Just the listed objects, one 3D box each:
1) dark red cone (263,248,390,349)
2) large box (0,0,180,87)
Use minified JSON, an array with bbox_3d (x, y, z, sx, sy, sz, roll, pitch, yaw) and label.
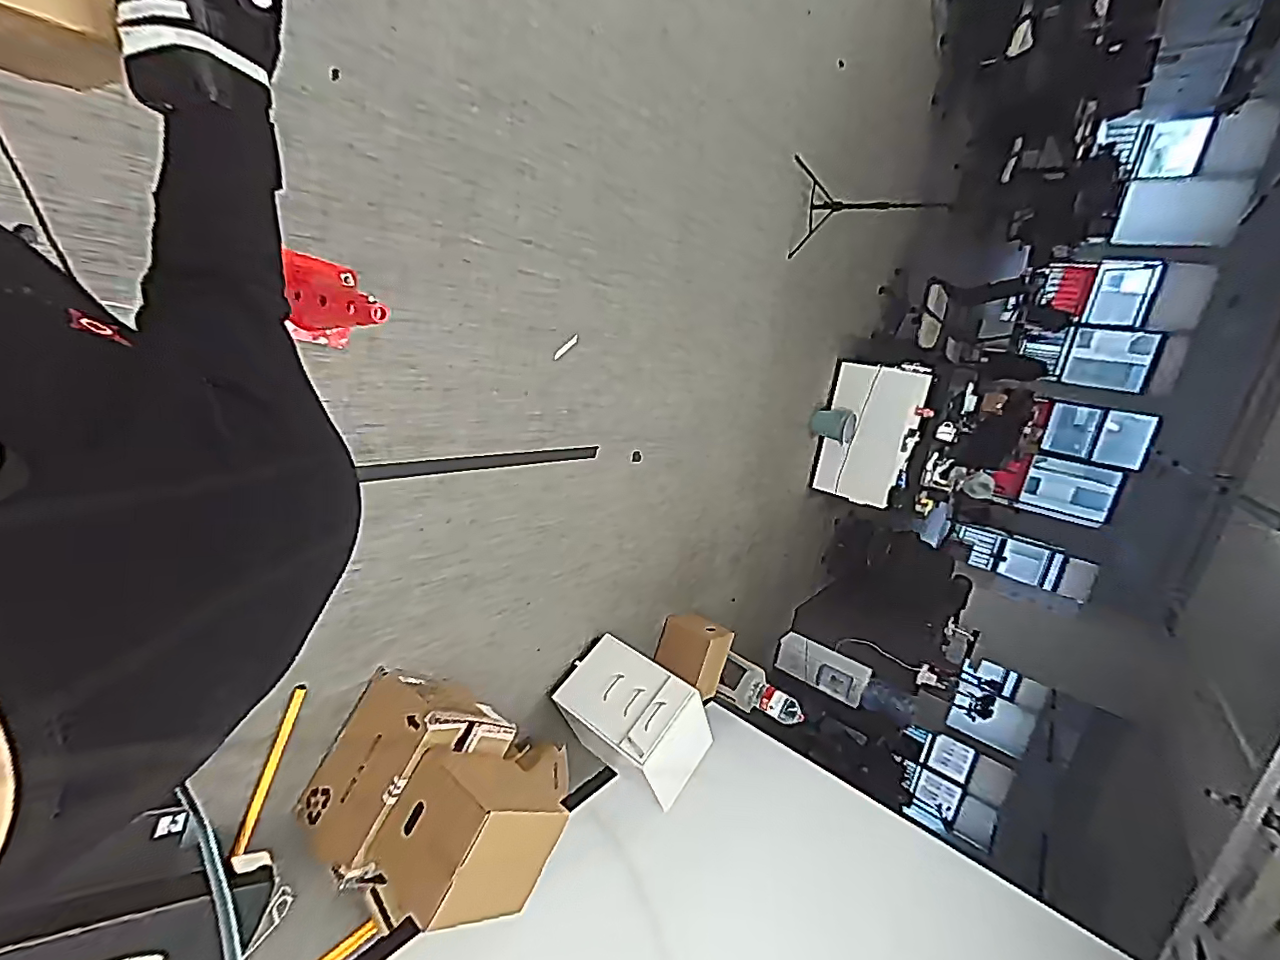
[{"bbox_3d":[-0.660,-0.380,1.197,0.201,0.394,0.202,1,105,-52],"label":"dark red cone"},{"bbox_3d":[-0.539,-0.451,0.259,0.408,0.320,0.320,-15,122,-52],"label":"large box"}]
